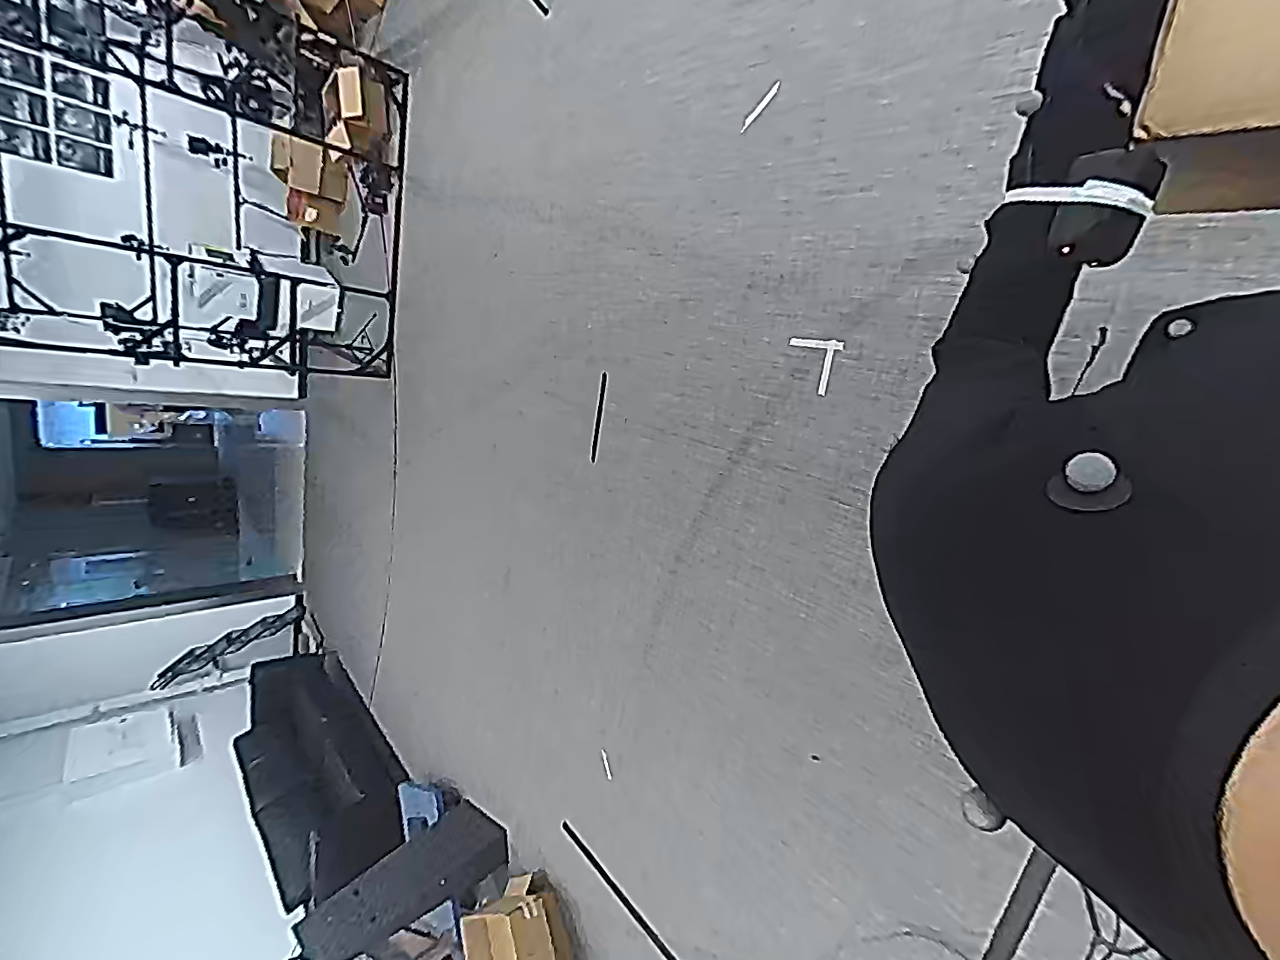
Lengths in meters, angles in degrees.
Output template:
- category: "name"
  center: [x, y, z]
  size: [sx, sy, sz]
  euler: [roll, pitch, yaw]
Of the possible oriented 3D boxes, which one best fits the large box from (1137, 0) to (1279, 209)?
- category: "large box"
  center: [0.601, -0.368, 0.314]
  size: [0.408, 0.320, 0.320]
  euler: [19, 114, 41]
